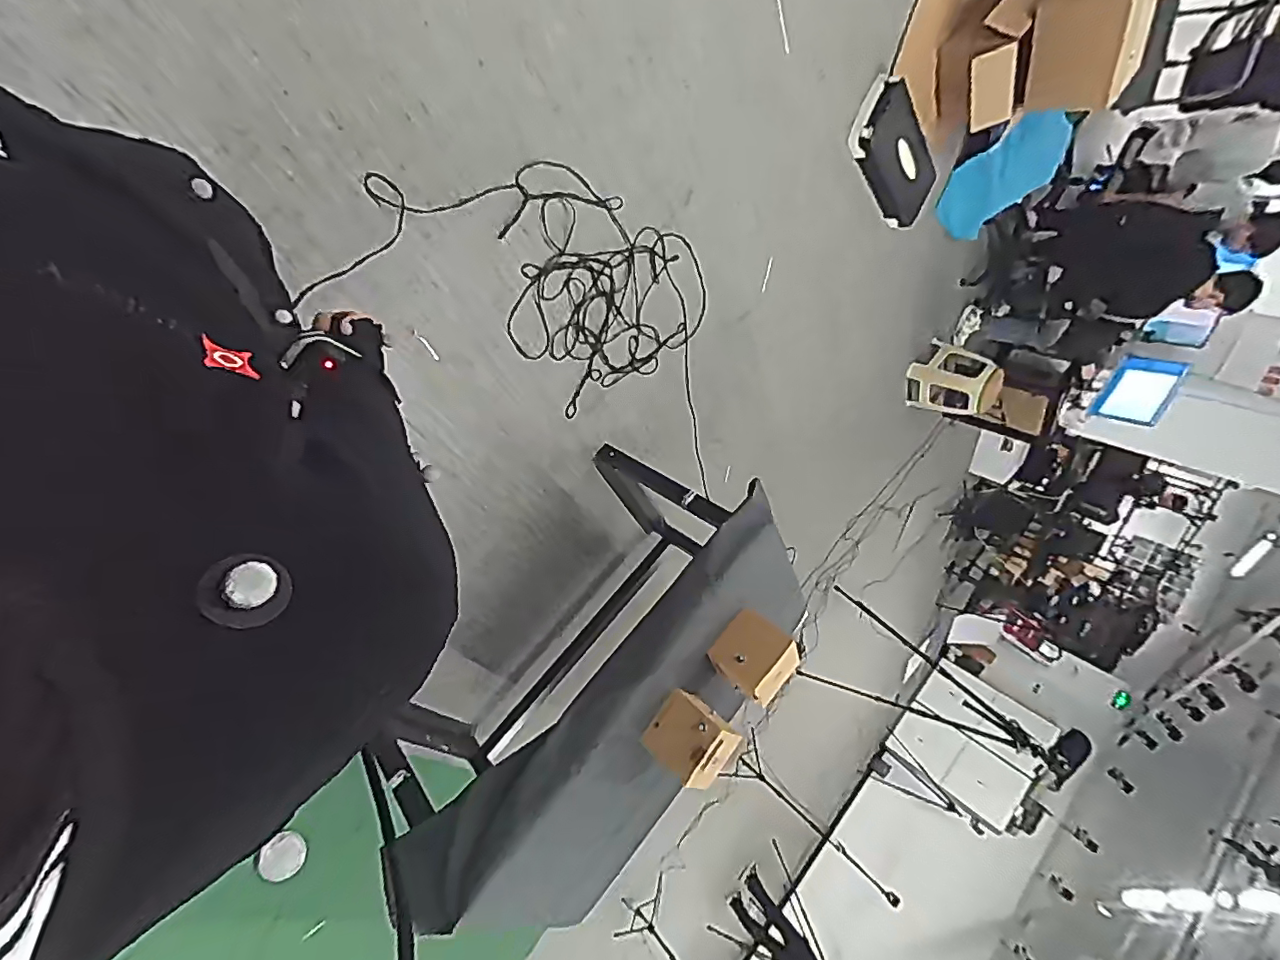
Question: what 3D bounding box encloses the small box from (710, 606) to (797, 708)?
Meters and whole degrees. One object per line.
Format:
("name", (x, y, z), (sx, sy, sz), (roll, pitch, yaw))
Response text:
("small box", (0.314, 0.492, 1.512), (0.179, 0.176, 0.168), (-46, 140, -18))
